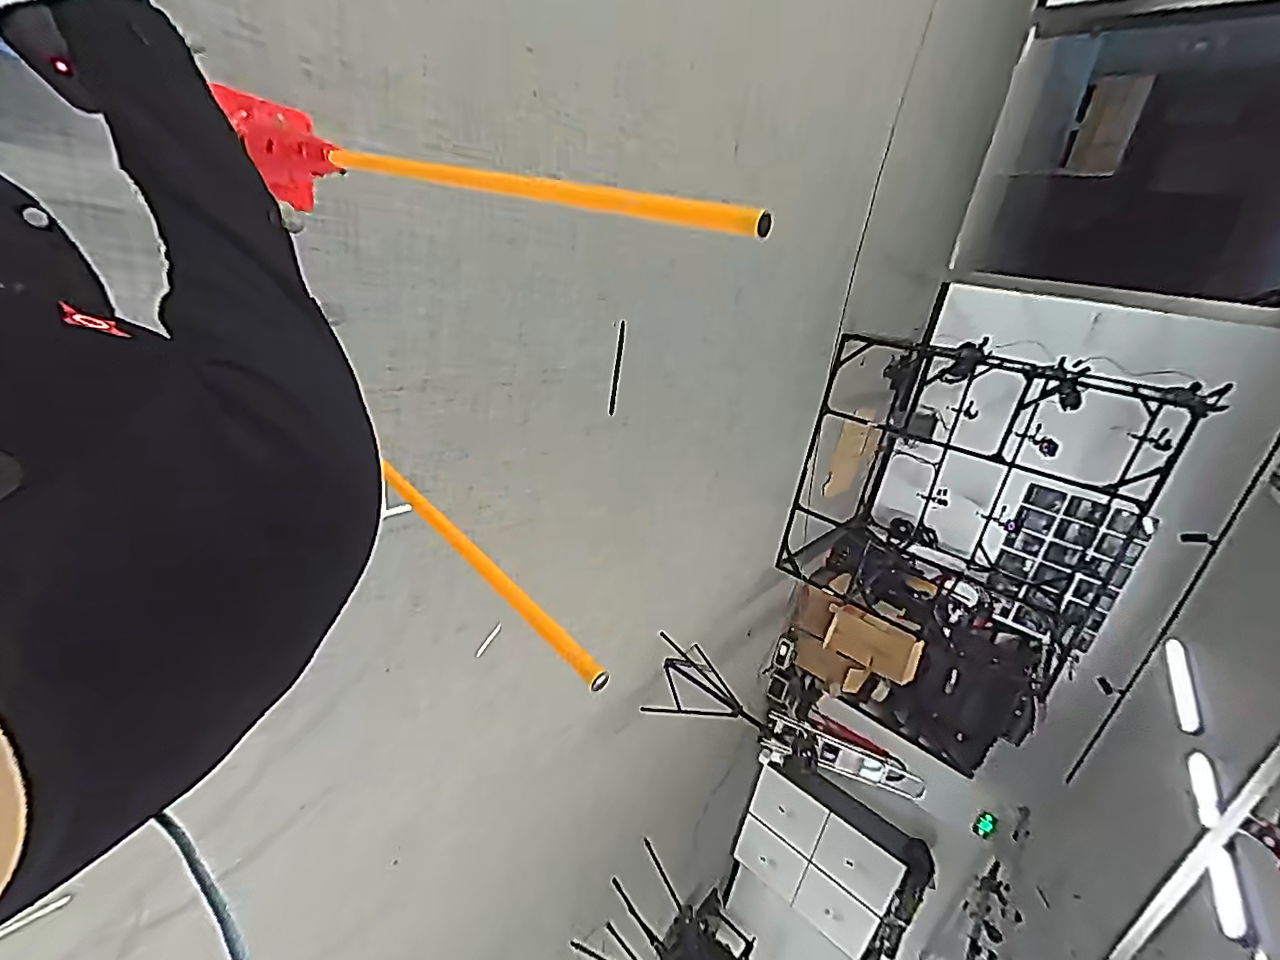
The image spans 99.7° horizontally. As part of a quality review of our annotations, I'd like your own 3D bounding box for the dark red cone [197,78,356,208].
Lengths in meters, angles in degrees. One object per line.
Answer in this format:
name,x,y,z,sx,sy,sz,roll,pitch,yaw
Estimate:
dark red cone,-0.657,-0.633,1.030,0.201,0.394,0.202,-17,124,-51
